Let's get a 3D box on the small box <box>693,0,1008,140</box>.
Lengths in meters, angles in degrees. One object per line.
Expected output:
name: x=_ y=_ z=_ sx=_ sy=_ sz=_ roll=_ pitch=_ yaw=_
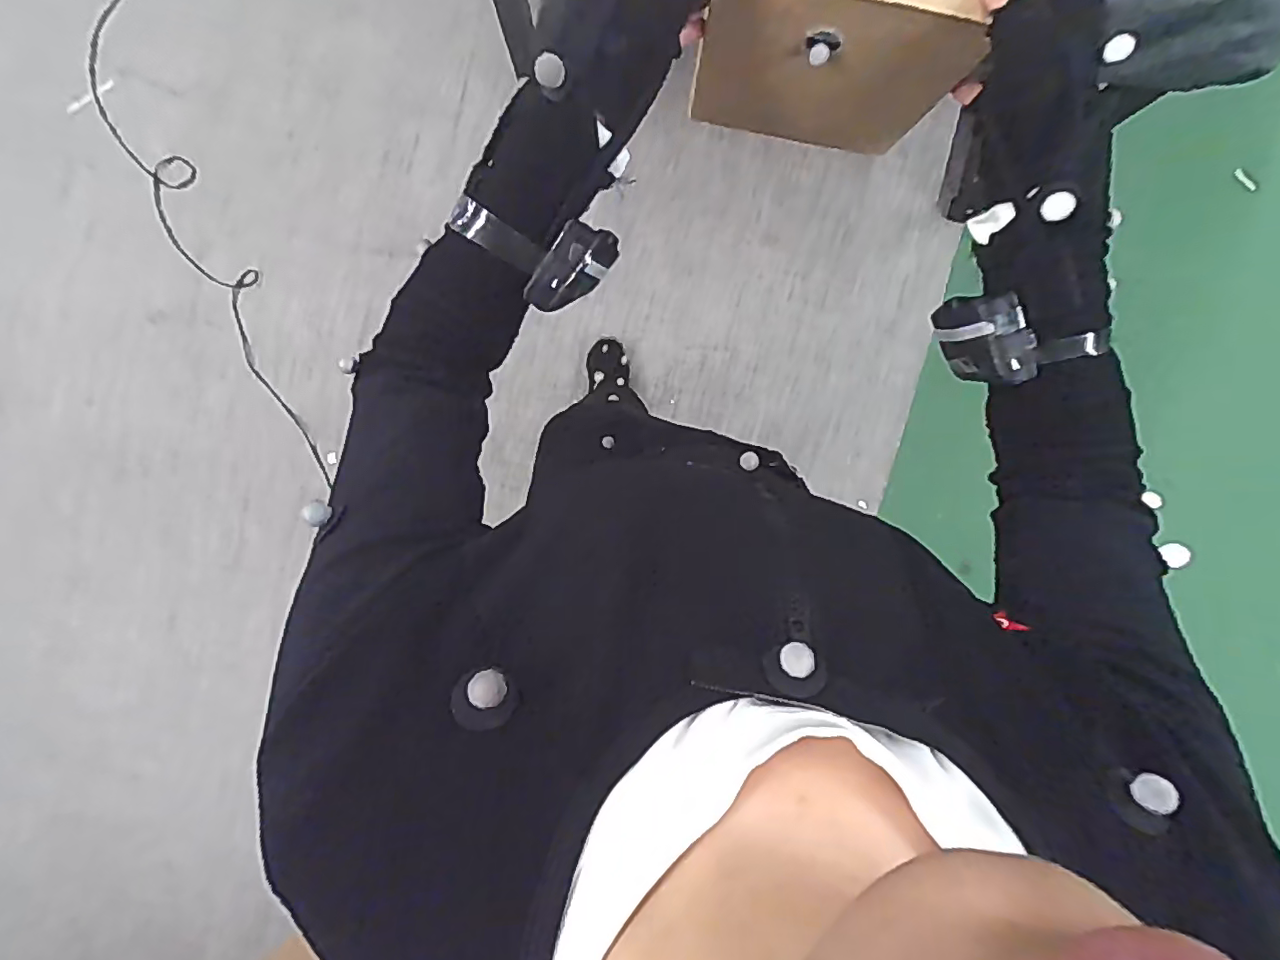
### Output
small box: x=0.140 y=-0.371 z=0.378 sx=0.179 sy=0.176 sz=0.168 roll=10 pitch=98 yaw=-2
